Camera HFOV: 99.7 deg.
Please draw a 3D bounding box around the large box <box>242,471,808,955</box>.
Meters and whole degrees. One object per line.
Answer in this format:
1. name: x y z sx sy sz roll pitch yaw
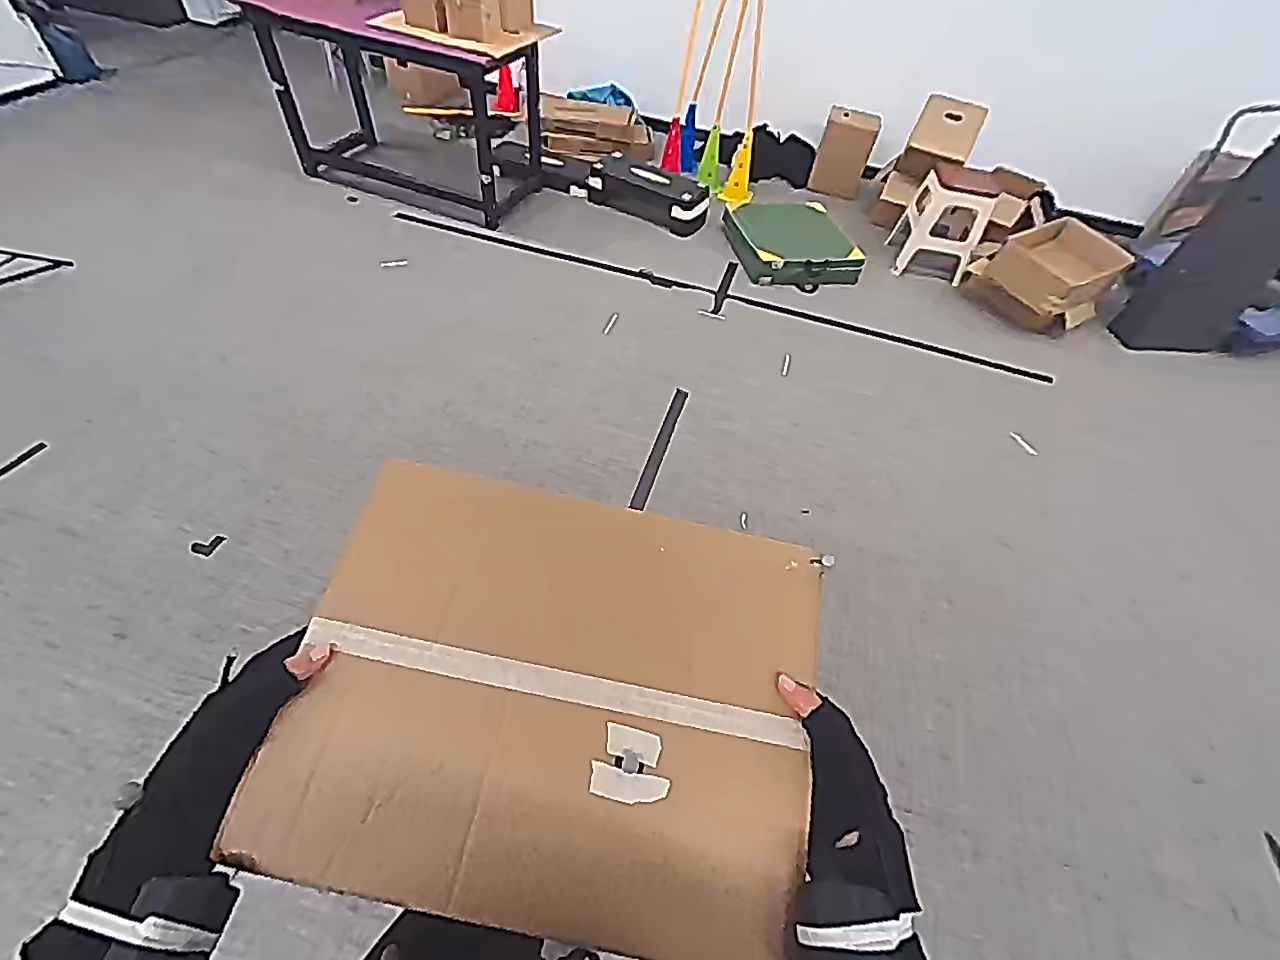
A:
1. large box: -0.078 0.225 0.579 0.408 0.320 0.320 13 66 -1
